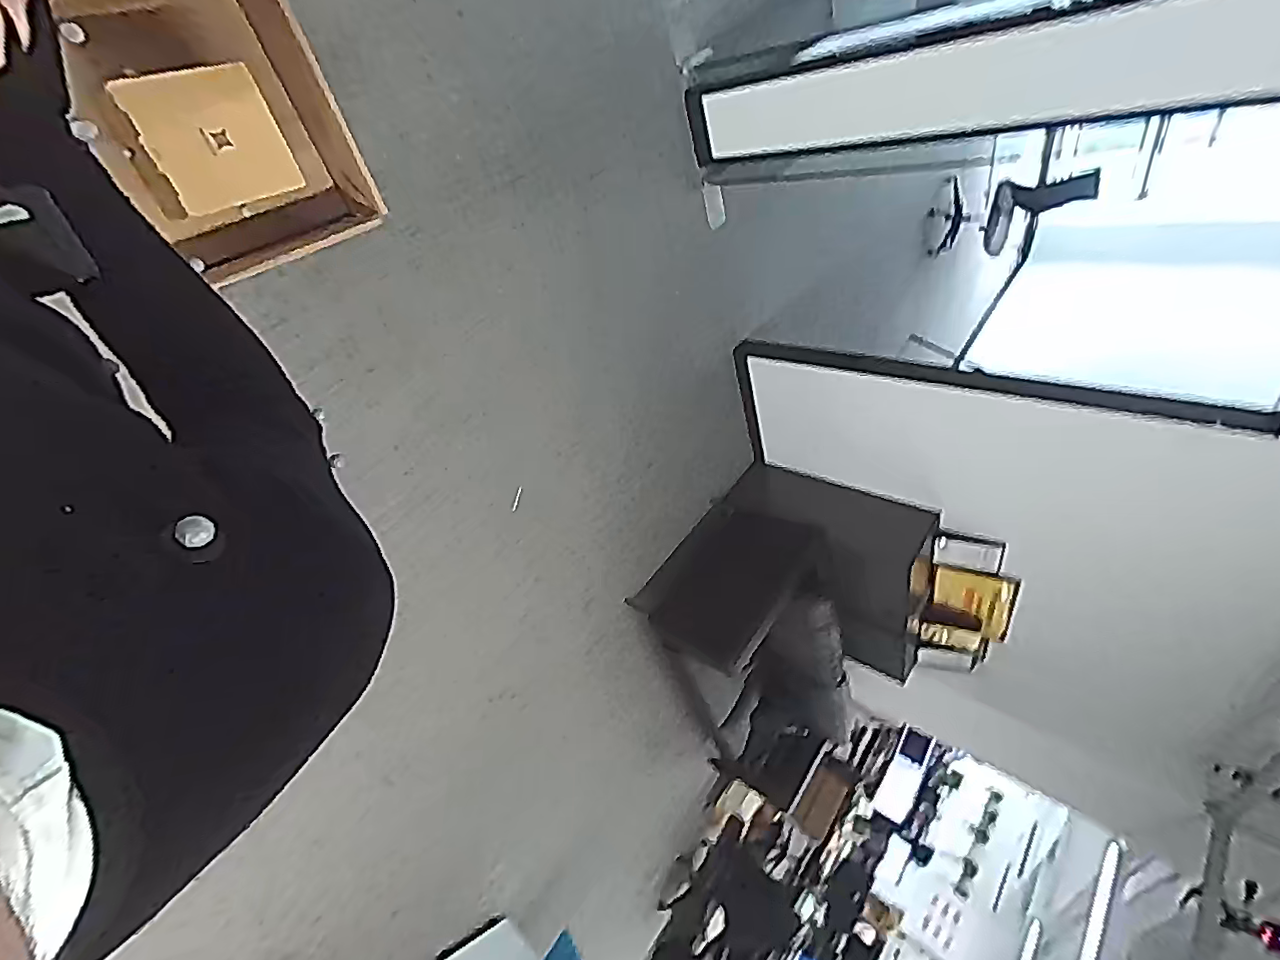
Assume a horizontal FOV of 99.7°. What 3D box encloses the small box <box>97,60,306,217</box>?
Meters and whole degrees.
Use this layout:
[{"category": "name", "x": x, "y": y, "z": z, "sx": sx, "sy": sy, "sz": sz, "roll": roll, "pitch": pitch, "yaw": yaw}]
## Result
[{"category": "small box", "x": -0.661, "y": -0.512, "z": 0.818, "sx": 0.179, "sy": 0.176, "sz": 0.168, "roll": -40, "pitch": 134, "yaw": -30}]
